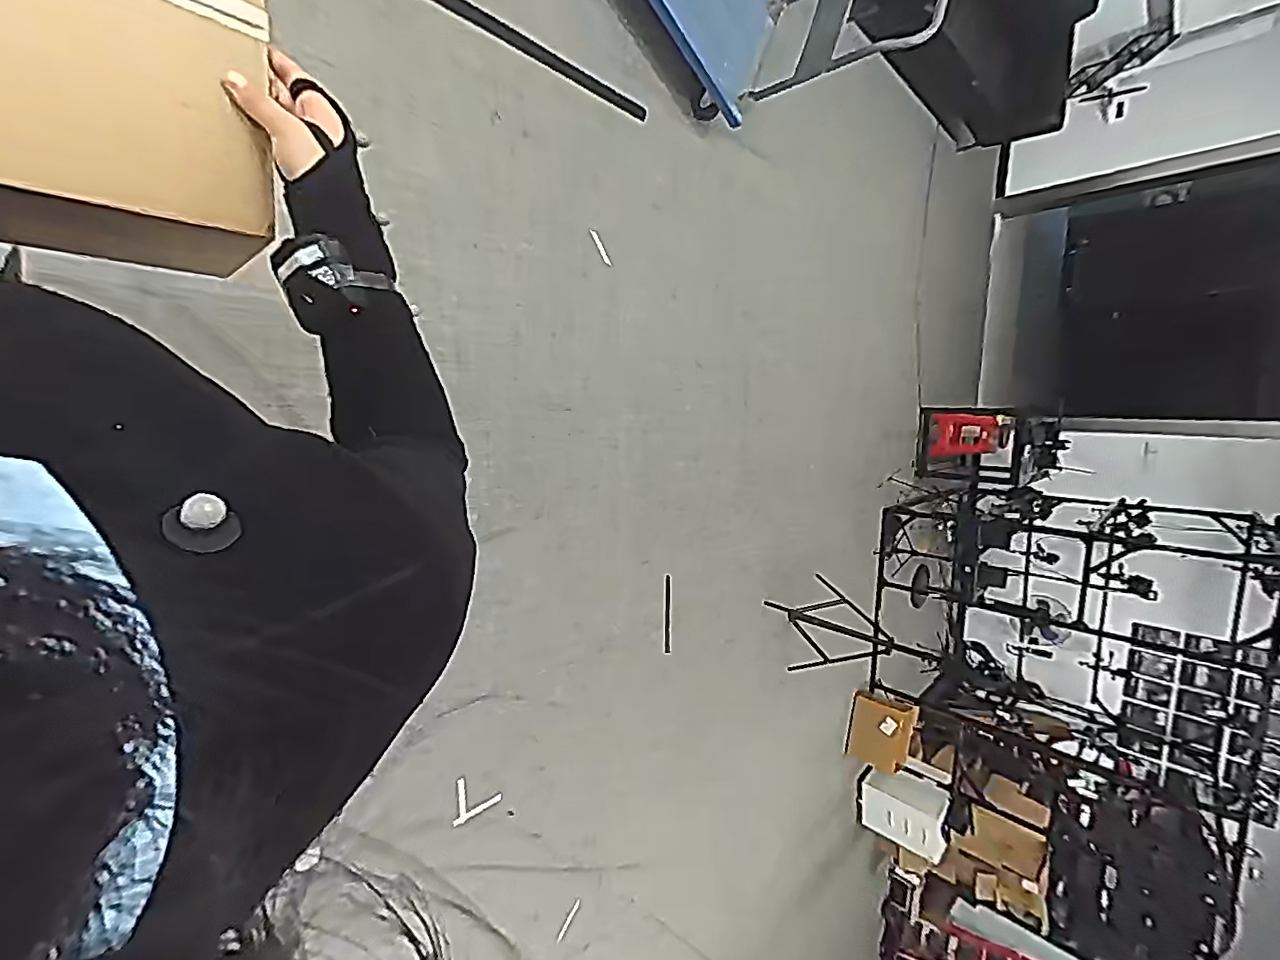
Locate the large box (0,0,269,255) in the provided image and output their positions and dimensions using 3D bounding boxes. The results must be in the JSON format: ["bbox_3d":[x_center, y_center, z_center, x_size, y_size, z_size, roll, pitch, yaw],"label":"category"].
[{"bbox_3d":[-0.550,-0.380,0.405,0.408,0.320,0.320,-5,103,-43],"label":"large box"}]
